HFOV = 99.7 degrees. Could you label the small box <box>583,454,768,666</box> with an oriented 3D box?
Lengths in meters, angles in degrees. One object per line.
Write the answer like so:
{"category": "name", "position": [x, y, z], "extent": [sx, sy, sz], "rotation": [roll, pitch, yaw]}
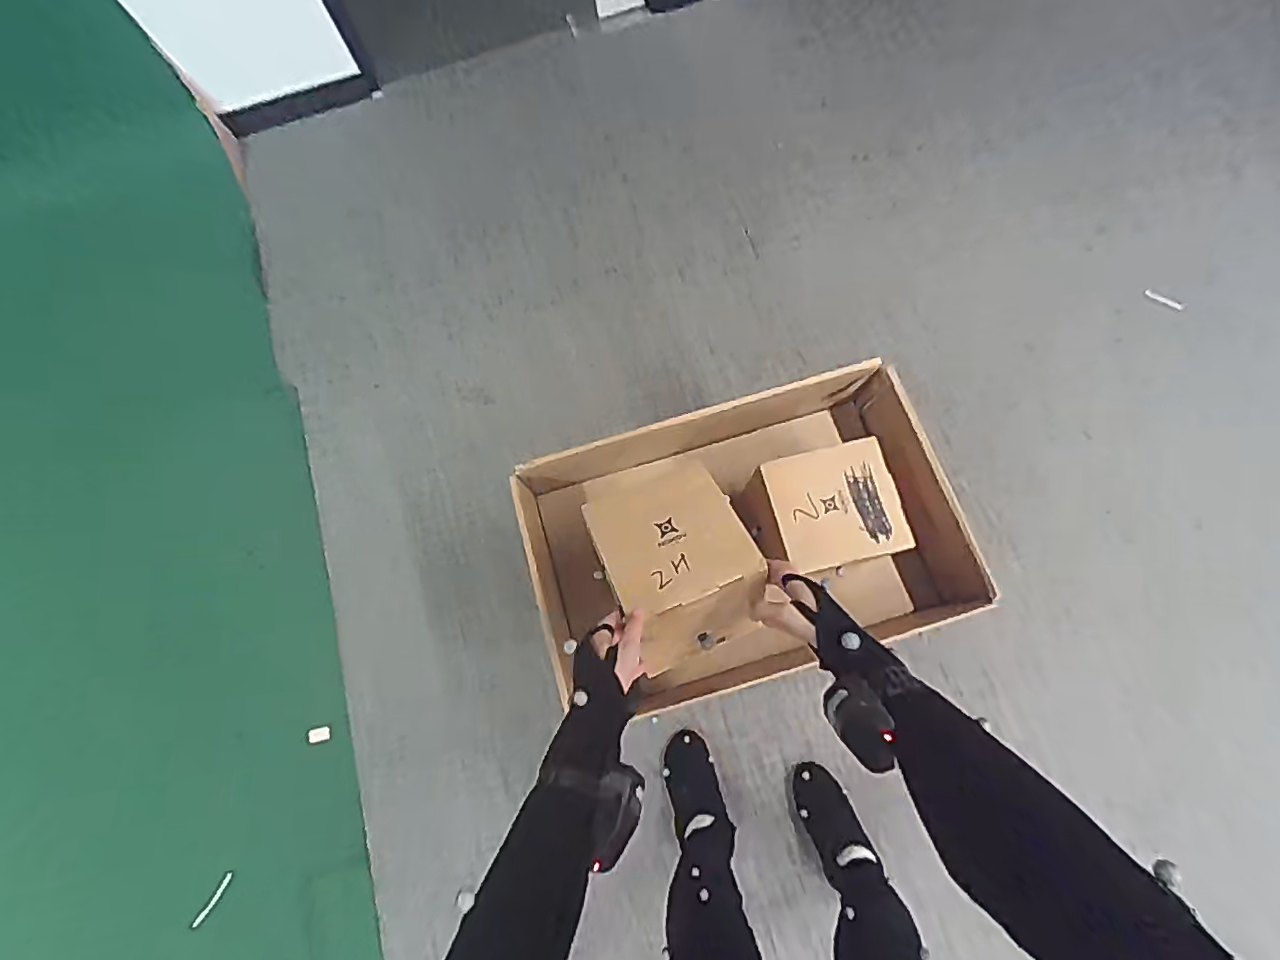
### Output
{"category": "small box", "position": [0.042, 0.103, 0.684], "extent": [0.168, 0.176, 0.179], "rotation": [-21, 53, -7]}
